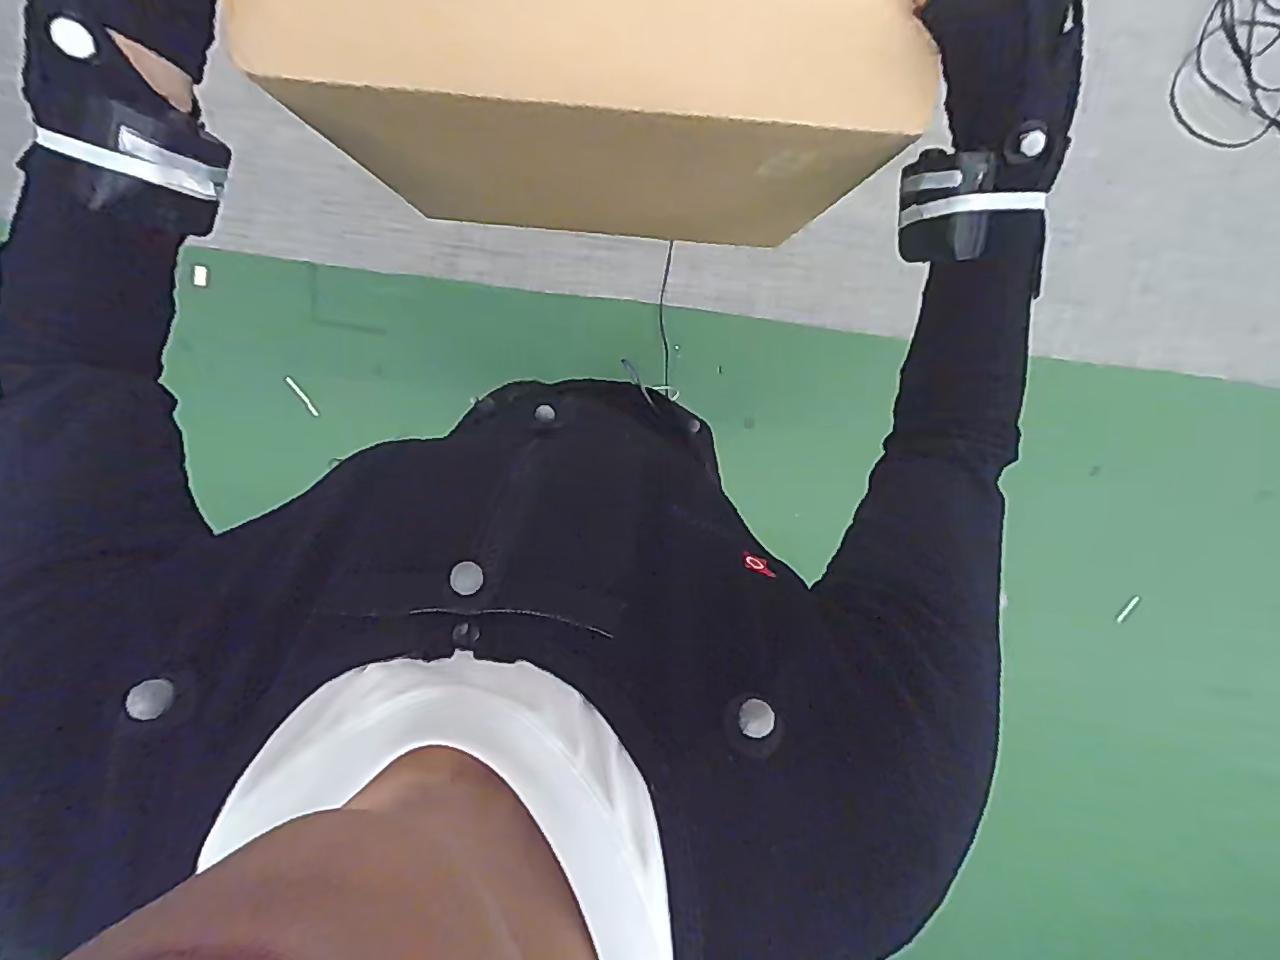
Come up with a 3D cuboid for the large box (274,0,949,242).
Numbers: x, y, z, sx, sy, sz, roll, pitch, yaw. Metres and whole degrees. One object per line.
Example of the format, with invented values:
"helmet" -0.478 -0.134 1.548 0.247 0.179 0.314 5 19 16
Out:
"large box" -0.016 -0.403 0.446 0.408 0.320 0.320 3 102 -4
